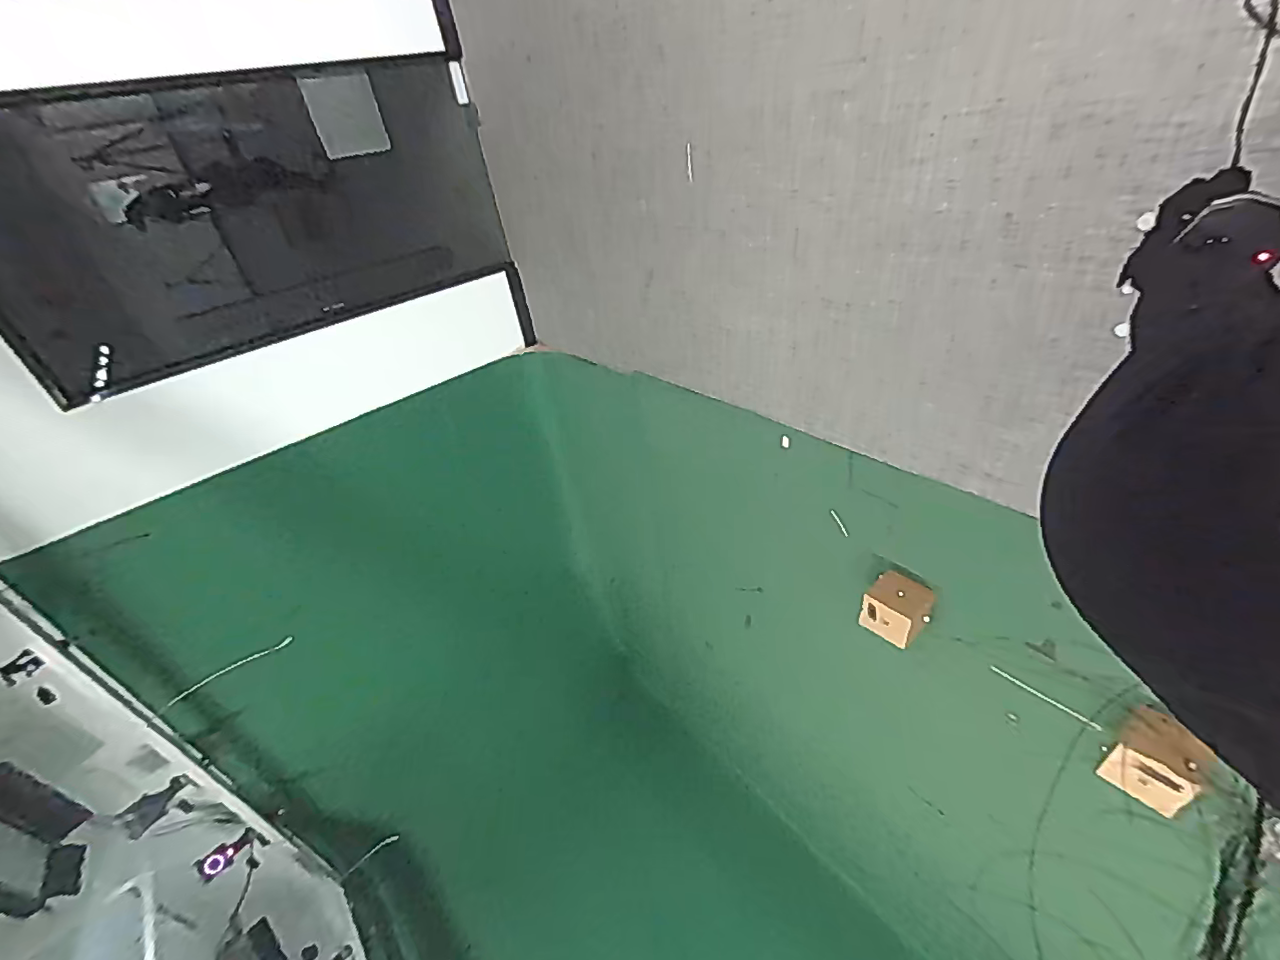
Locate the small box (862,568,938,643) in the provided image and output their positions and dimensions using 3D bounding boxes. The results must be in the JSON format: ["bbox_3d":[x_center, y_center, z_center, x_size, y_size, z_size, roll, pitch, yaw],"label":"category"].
[{"bbox_3d":[0.932,0.441,1.942,0.179,0.176,0.168,30,142,40],"label":"small box"}]
